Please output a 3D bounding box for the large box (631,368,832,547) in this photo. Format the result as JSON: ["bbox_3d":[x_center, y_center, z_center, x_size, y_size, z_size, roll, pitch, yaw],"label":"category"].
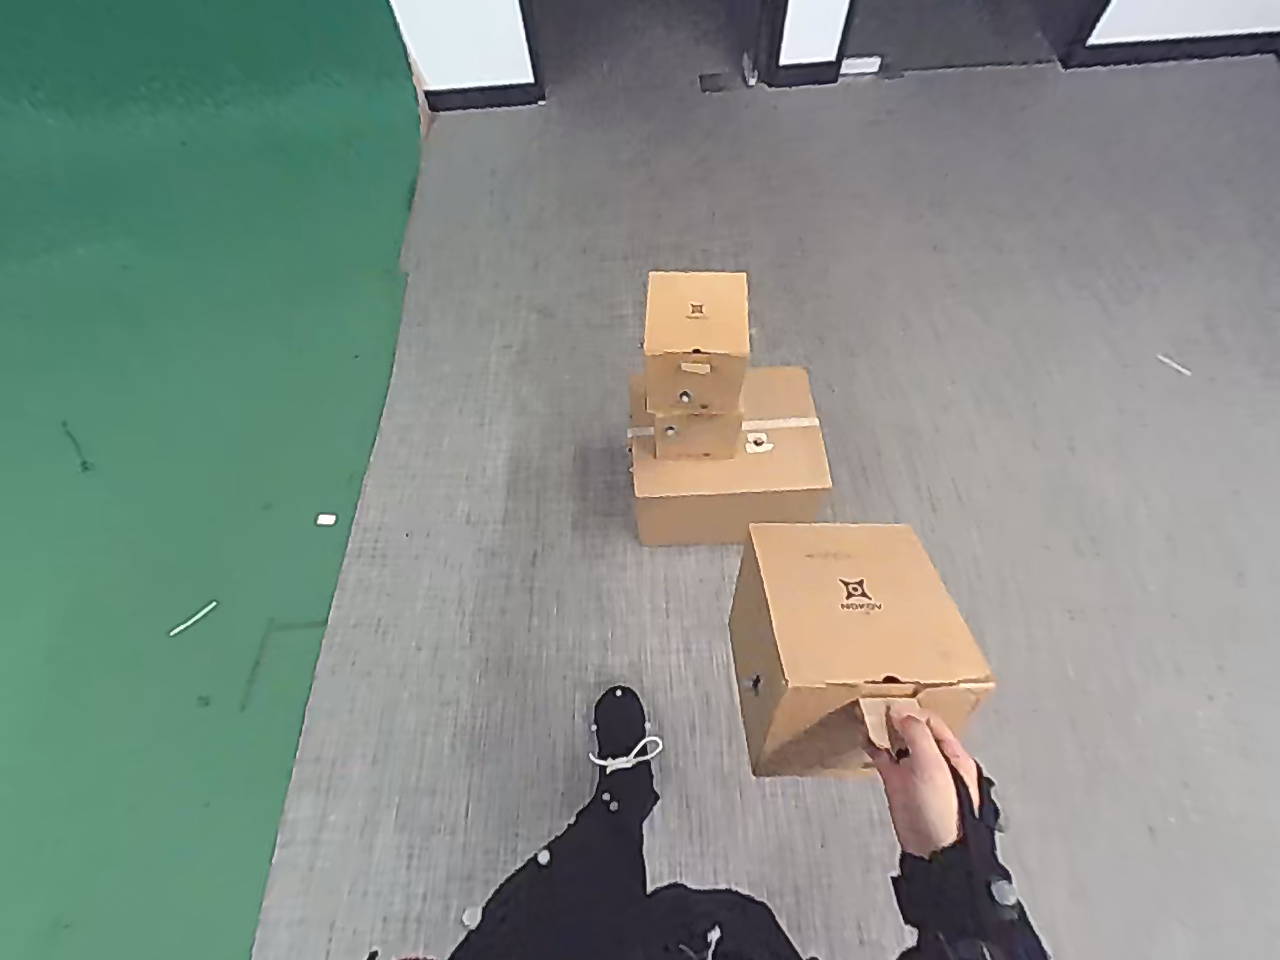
[{"bbox_3d":[0.189,-0.041,1.293,0.408,0.320,0.320,-3,64,0],"label":"large box"}]

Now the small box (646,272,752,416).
[{"bbox_3d":[0.097,-0.232,0.937,0.168,0.176,0.179,2,64,3],"label":"small box"}]

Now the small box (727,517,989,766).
[{"bbox_3d":[0.184,0.155,0.523,0.168,0.176,0.179,1,39,-2],"label":"small box"}]
